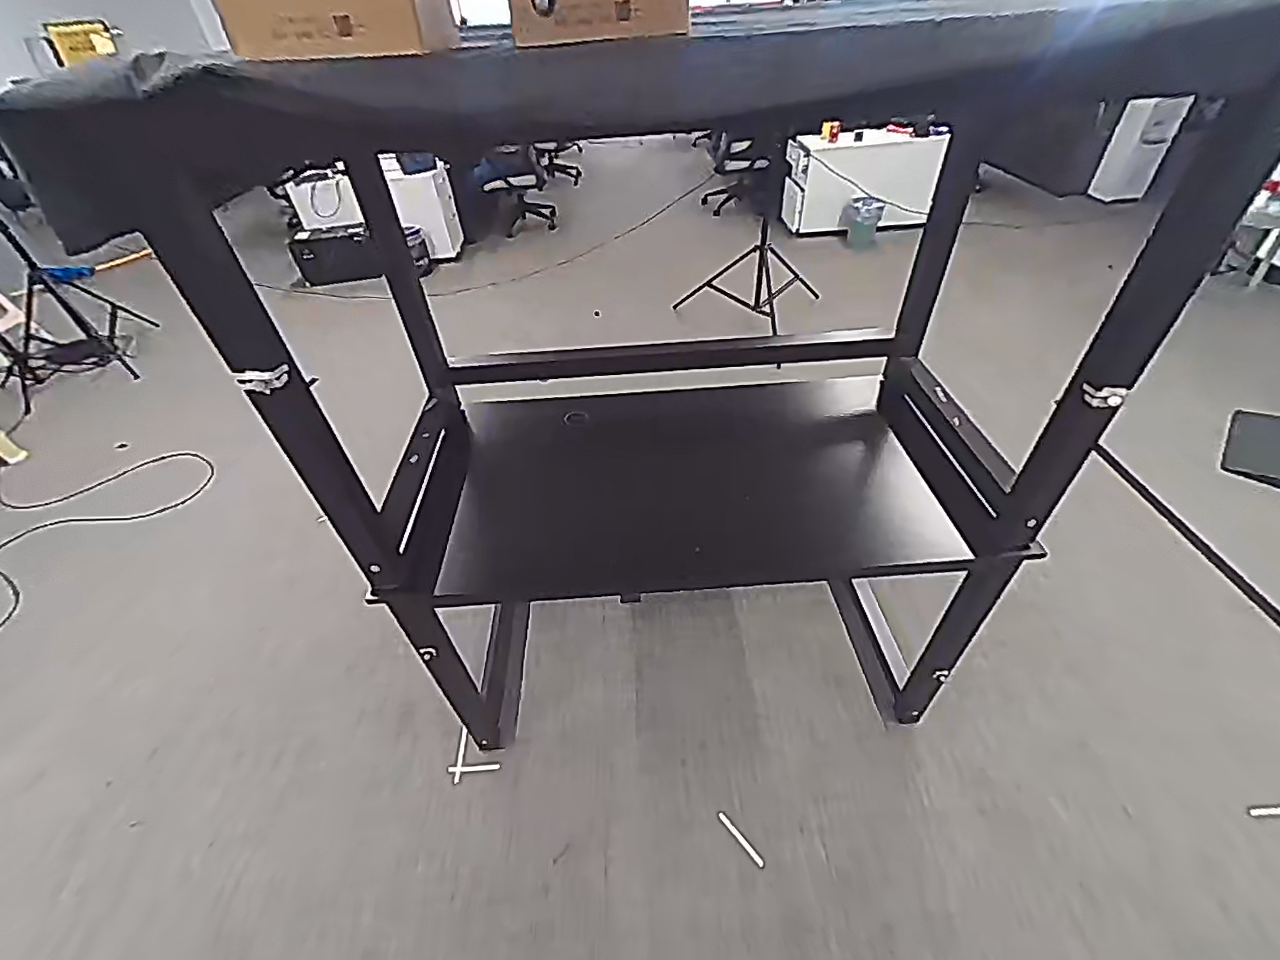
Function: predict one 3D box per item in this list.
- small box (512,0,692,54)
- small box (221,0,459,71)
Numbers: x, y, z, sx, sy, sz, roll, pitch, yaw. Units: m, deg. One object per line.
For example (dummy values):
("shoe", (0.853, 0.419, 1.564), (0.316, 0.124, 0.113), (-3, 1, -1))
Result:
("small box", (-0.038, -0.518, 0.512), (0.168, 0.176, 0.179), (-3, 39, 2))
("small box", (-0.279, -0.483, 0.492), (0.168, 0.176, 0.179), (-3, 40, -1))
